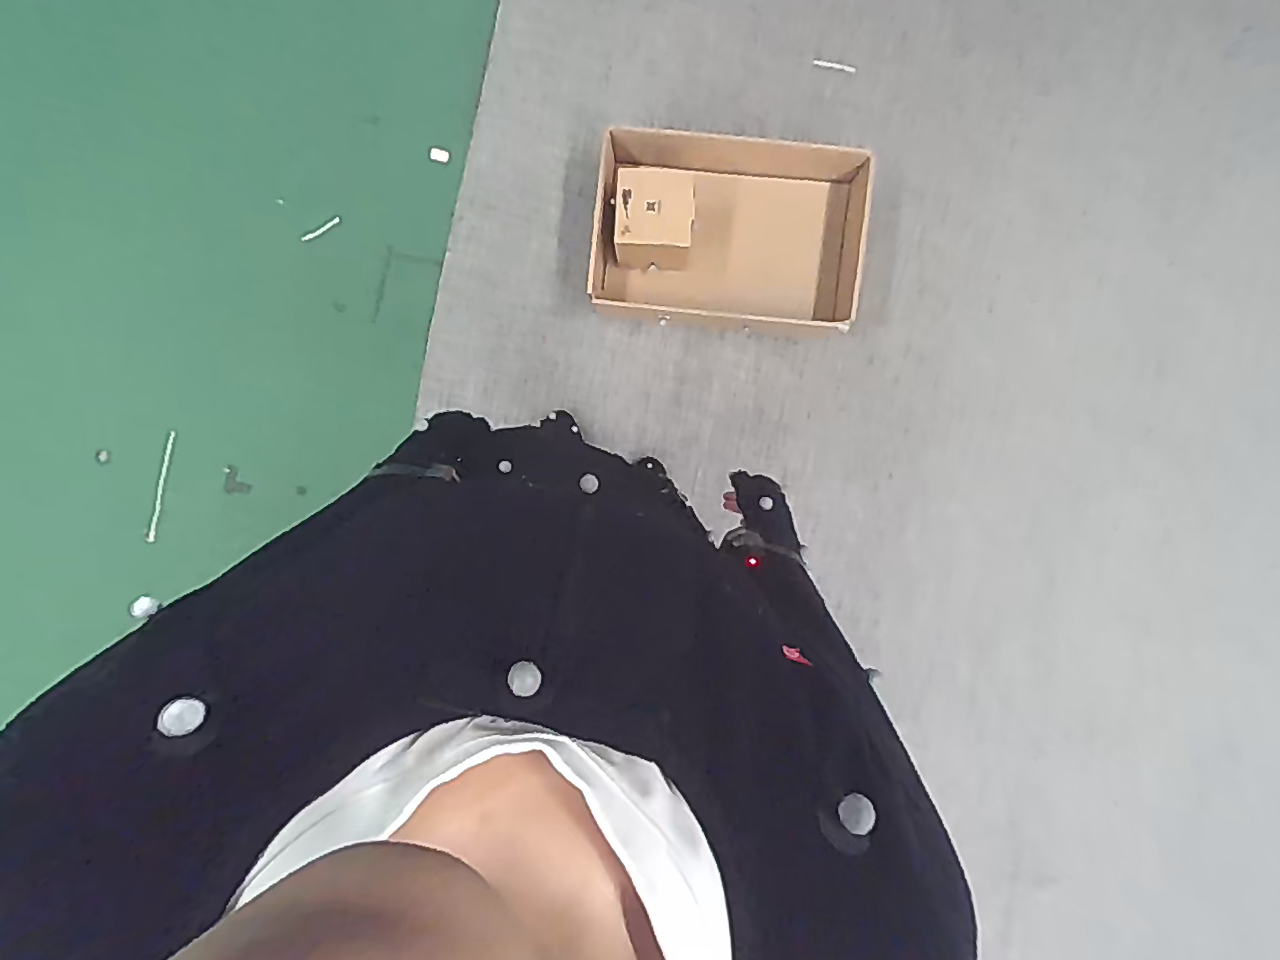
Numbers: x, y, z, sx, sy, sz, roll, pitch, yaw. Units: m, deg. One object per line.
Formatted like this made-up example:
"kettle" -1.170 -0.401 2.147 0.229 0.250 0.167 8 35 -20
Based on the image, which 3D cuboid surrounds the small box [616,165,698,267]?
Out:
"small box" 0.037 -0.618 1.285 0.179 0.176 0.168 4 93 0
